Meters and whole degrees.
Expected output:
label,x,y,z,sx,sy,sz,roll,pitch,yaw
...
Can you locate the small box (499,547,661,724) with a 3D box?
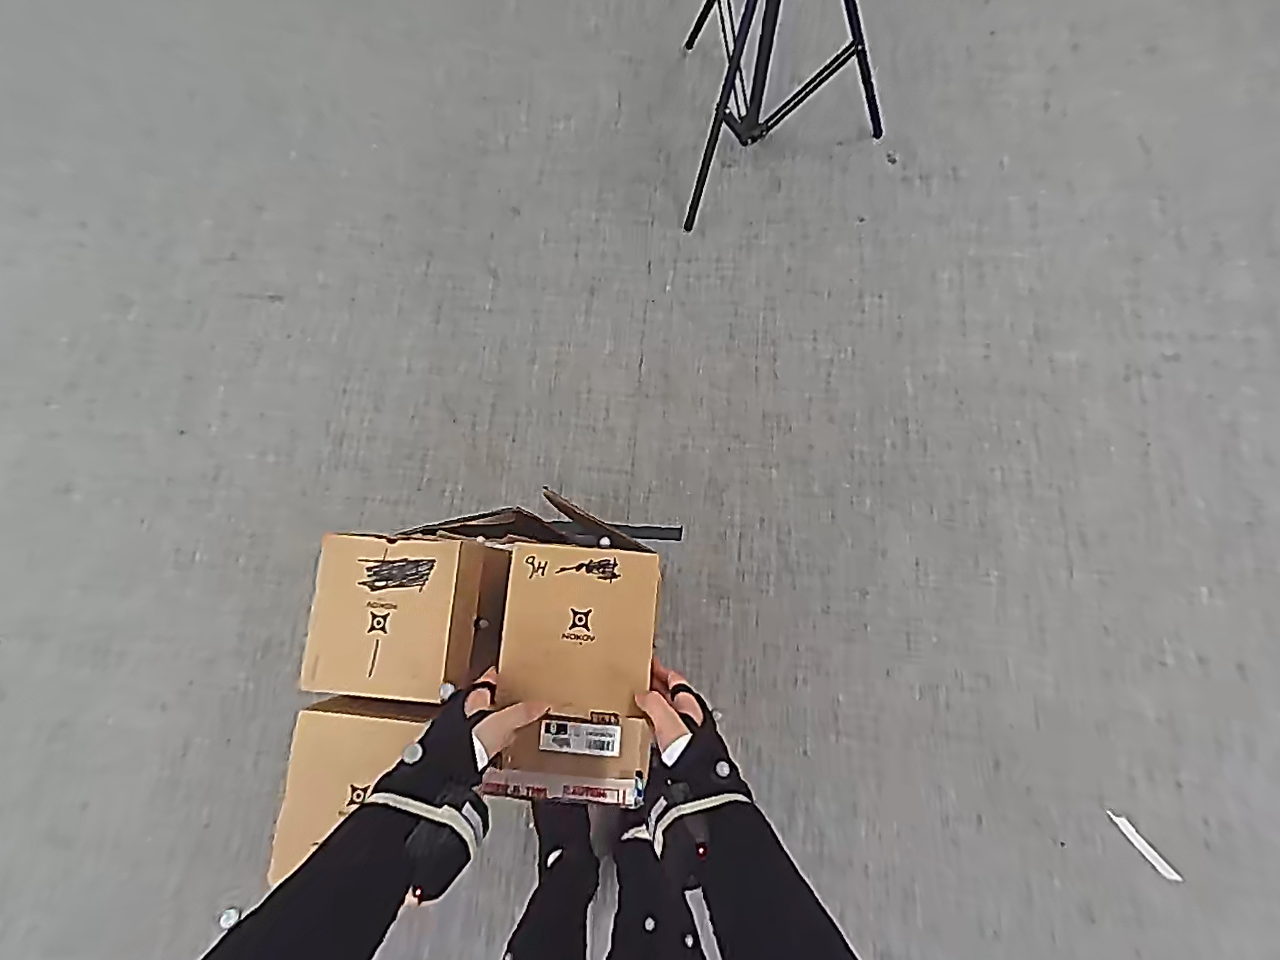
label,x,y,z,sx,sy,sz,roll,pitch,yaw
small box,-0.062,0.179,0.666,0.168,0.176,0.179,5,80,2
